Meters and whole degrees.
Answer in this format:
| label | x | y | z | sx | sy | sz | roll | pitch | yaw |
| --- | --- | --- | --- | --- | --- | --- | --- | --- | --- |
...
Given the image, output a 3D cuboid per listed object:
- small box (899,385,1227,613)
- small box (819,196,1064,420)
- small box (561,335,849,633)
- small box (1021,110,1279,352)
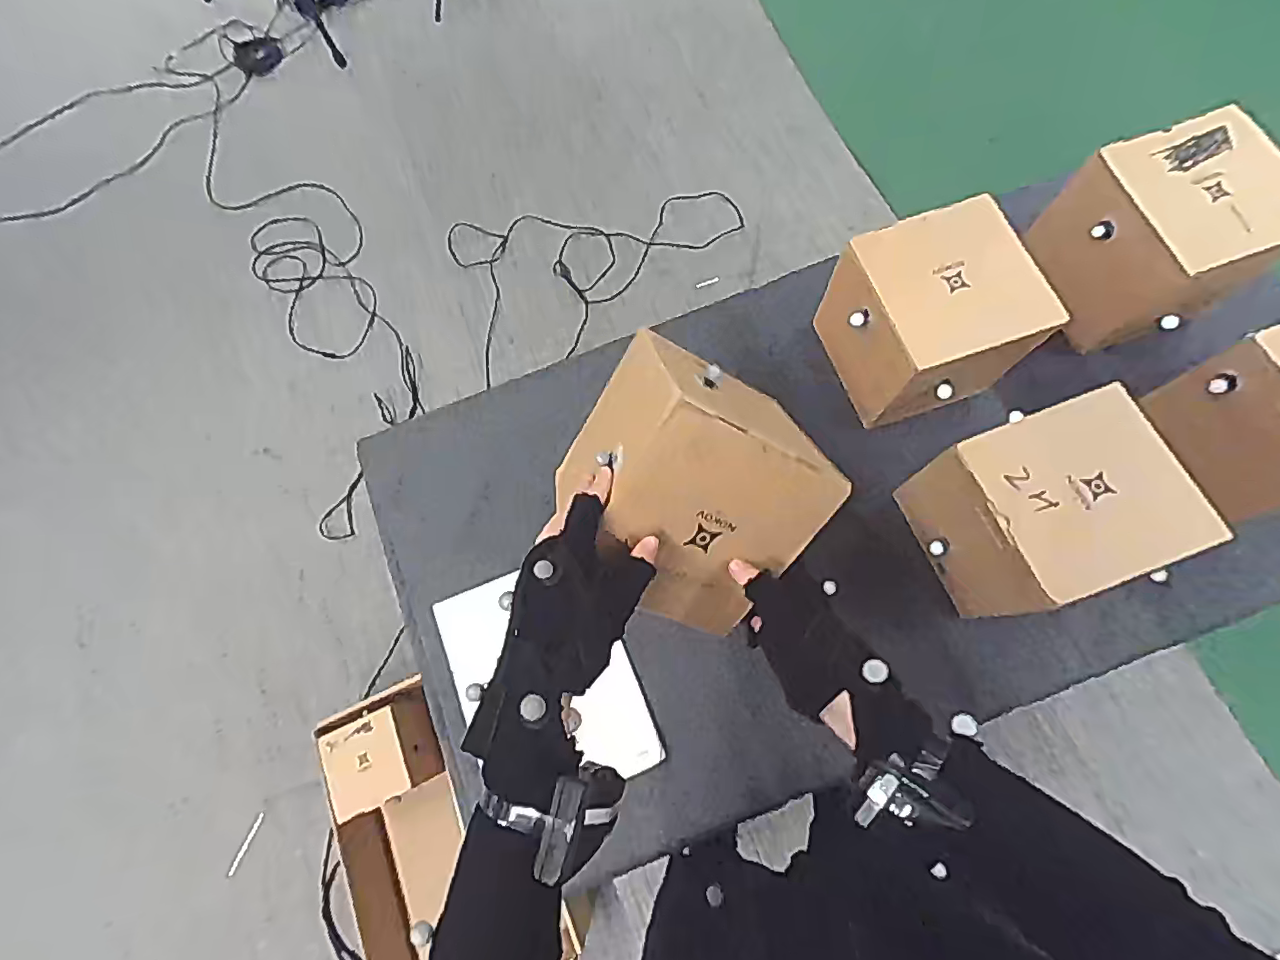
| label | x | y | z | sx | sy | sz | roll | pitch | yaw |
| --- | --- | --- | --- | --- | --- | --- | --- | --- | --- |
| small box | 0.414 | 0.031 | 0.570 | 0.179 | 0.176 | 0.168 | -21 | 71 | -1 |
| small box | 0.337 | -0.189 | 0.647 | 0.168 | 0.176 | 0.179 | -18 | 72 | 0 |
| small box | 0.036 | -0.003 | 0.477 | 0.168 | 0.176 | 0.179 | 22 | 114 | -21 |
| small box | 0.610 | -0.286 | 0.649 | 0.168 | 0.176 | 0.179 | -19 | 73 | 0 |
